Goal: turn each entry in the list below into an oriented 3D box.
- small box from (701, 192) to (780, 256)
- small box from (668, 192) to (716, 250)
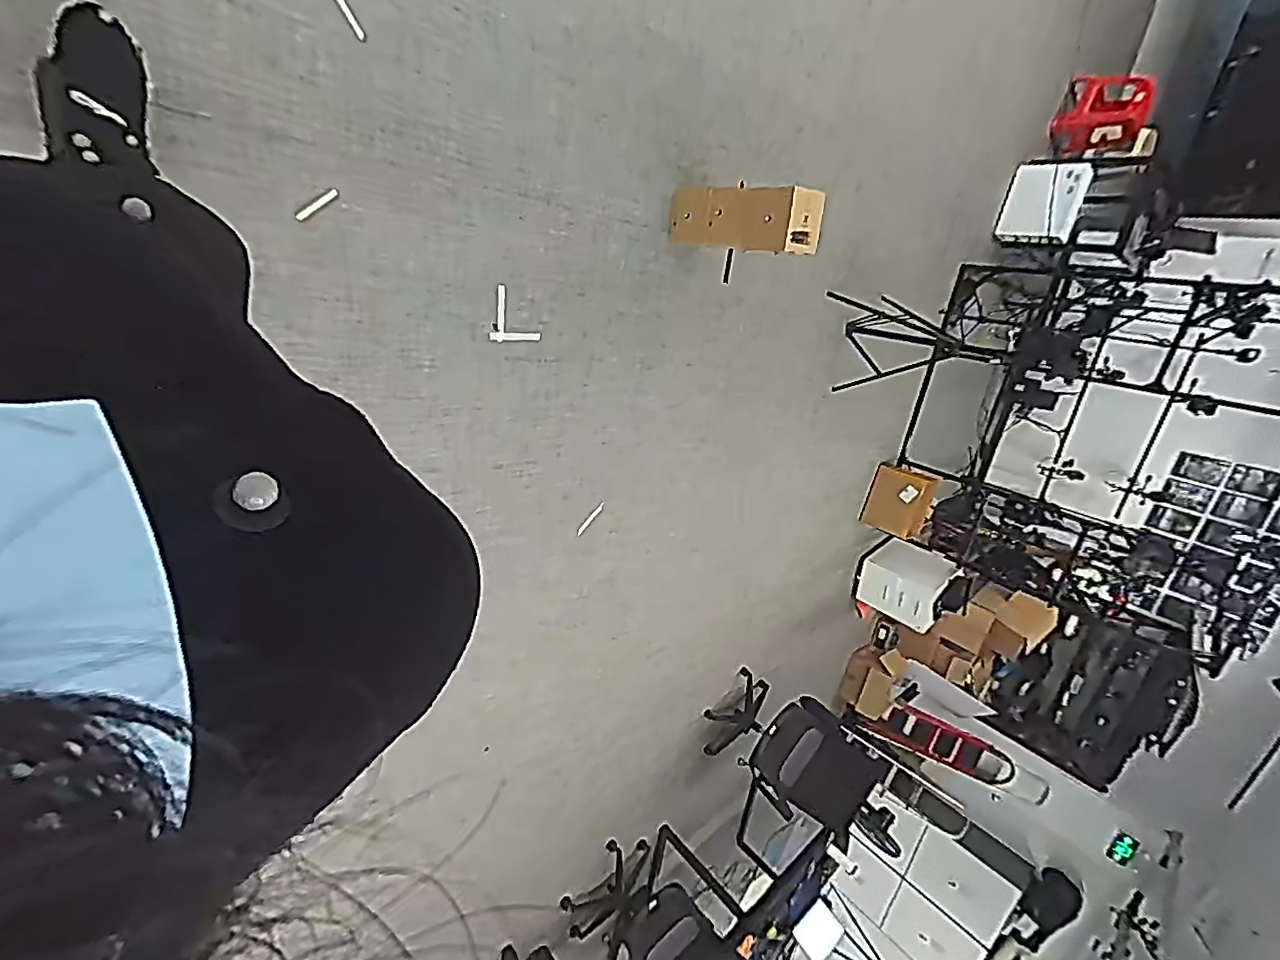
[{"bbox_3d":[0.328,-0.840,1.775,0.179,0.176,0.168,-12,118,-40],"label":"small box"},{"bbox_3d":[0.219,-0.896,1.882,0.179,0.176,0.168,-14,120,-41],"label":"small box"}]
